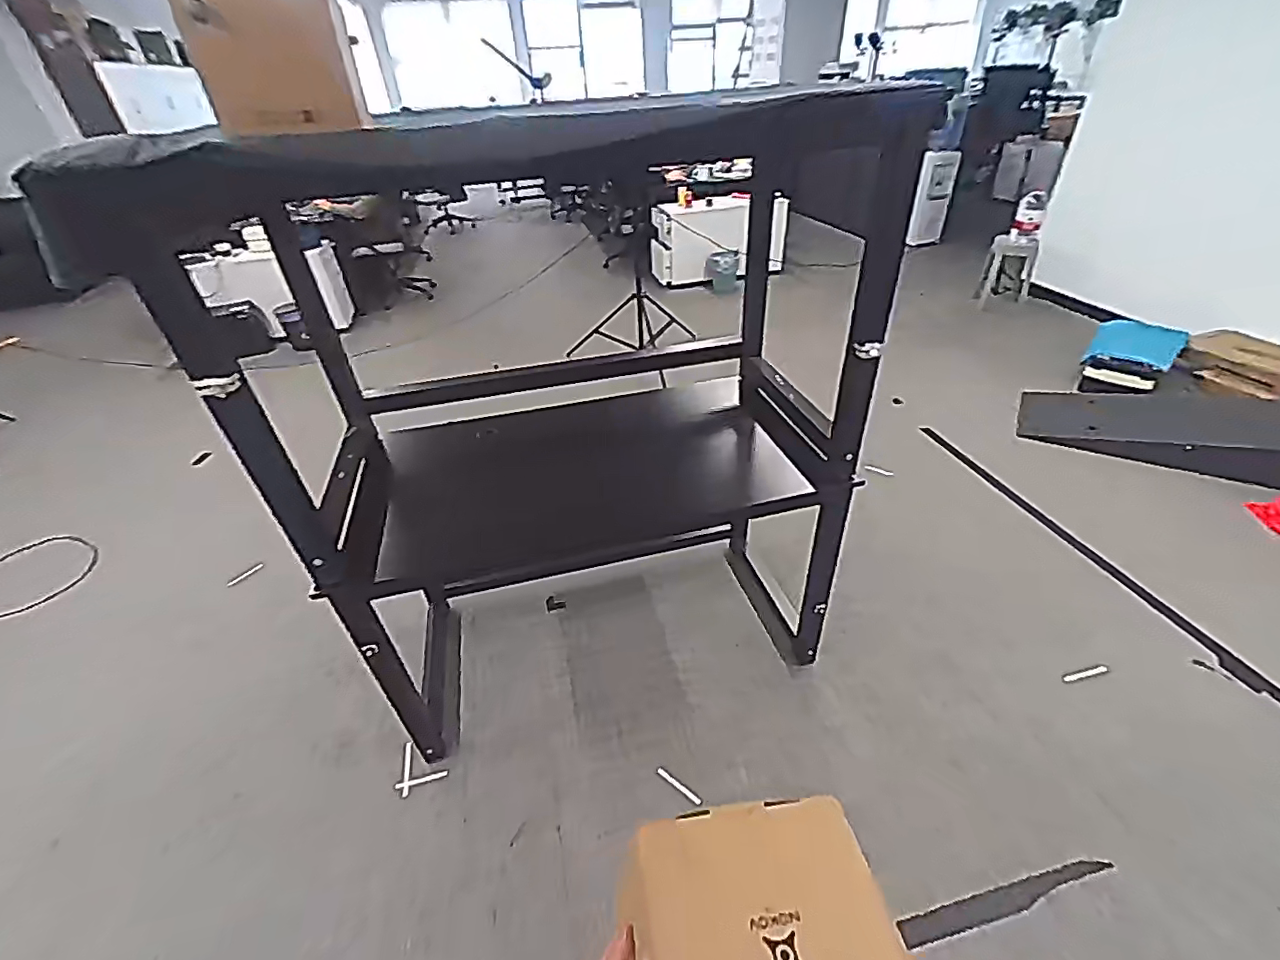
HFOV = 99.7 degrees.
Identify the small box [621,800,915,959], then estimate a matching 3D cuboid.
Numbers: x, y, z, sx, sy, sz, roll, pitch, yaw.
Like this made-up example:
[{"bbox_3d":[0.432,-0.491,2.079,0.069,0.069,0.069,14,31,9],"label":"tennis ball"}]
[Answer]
[{"bbox_3d":[0.084,0.367,0.384,0.168,0.176,0.179,0,34,-12],"label":"small box"}]
